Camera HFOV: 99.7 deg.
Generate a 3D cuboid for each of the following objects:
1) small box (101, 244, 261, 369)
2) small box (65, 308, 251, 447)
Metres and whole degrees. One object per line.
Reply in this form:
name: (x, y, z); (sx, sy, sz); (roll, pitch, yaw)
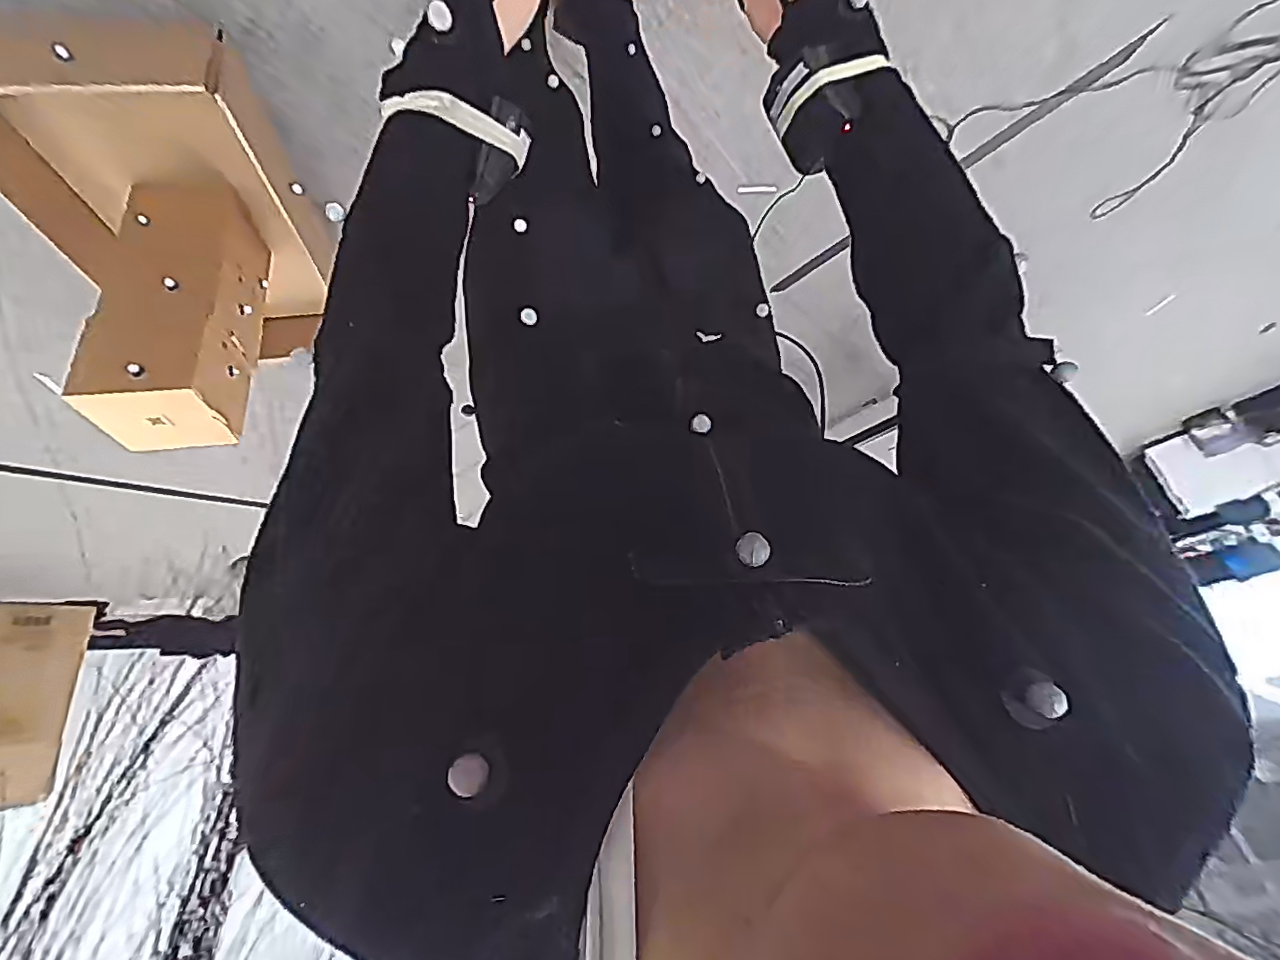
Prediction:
small box: (-0.838, -0.320, 1.010); (0.179, 0.176, 0.168); (-7, 154, -14)
small box: (-0.811, -0.178, 0.934); (0.179, 0.176, 0.168); (-7, 154, -13)
